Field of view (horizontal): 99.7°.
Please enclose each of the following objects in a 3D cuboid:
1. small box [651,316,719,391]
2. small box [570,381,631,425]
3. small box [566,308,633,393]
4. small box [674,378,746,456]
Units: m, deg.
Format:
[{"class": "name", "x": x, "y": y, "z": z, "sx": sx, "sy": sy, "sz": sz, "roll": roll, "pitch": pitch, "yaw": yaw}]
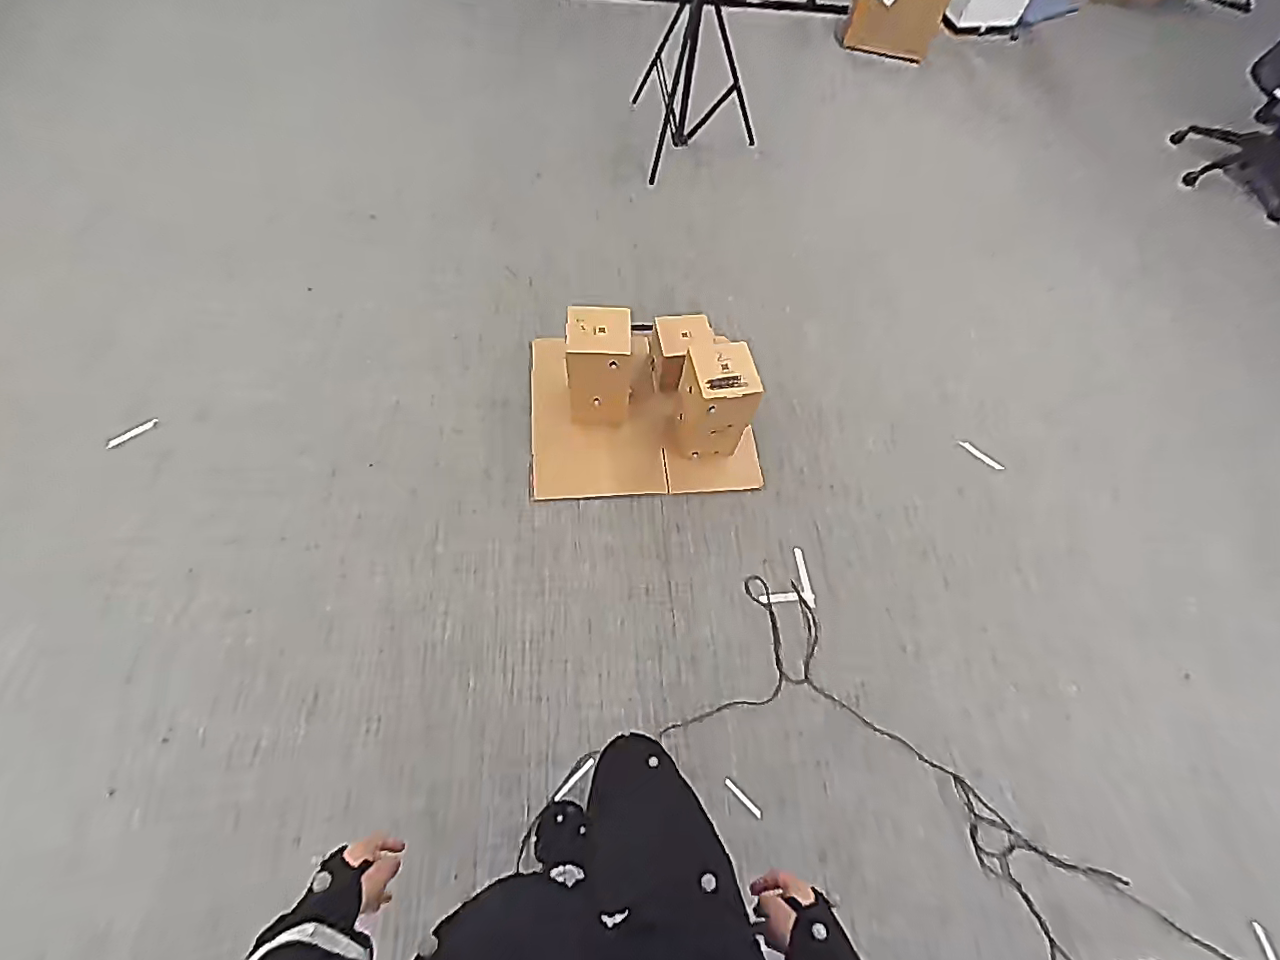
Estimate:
[{"class": "small box", "x": 0.140, "y": -0.408, "z": 1.754, "sx": 0.179, "sy": 0.176, "sz": 0.168, "roll": -7, "pitch": 62, "yaw": -8}, {"class": "small box", "x": -0.123, "y": -0.282, "z": 1.662, "sx": 0.179, "sy": 0.176, "sz": 0.168, "roll": 0, "pitch": 63, "yaw": -4}, {"class": "small box", "x": -0.112, "y": -0.359, "z": 1.516, "sx": 0.179, "sy": 0.176, "sz": 0.168, "roll": 1, "pitch": 62, "yaw": -3}, {"class": "small box", "x": 0.206, "y": -0.183, "z": 1.640, "sx": 0.168, "sy": 0.176, "sz": 0.179, "roll": -6, "pitch": 63, "yaw": -9}]
